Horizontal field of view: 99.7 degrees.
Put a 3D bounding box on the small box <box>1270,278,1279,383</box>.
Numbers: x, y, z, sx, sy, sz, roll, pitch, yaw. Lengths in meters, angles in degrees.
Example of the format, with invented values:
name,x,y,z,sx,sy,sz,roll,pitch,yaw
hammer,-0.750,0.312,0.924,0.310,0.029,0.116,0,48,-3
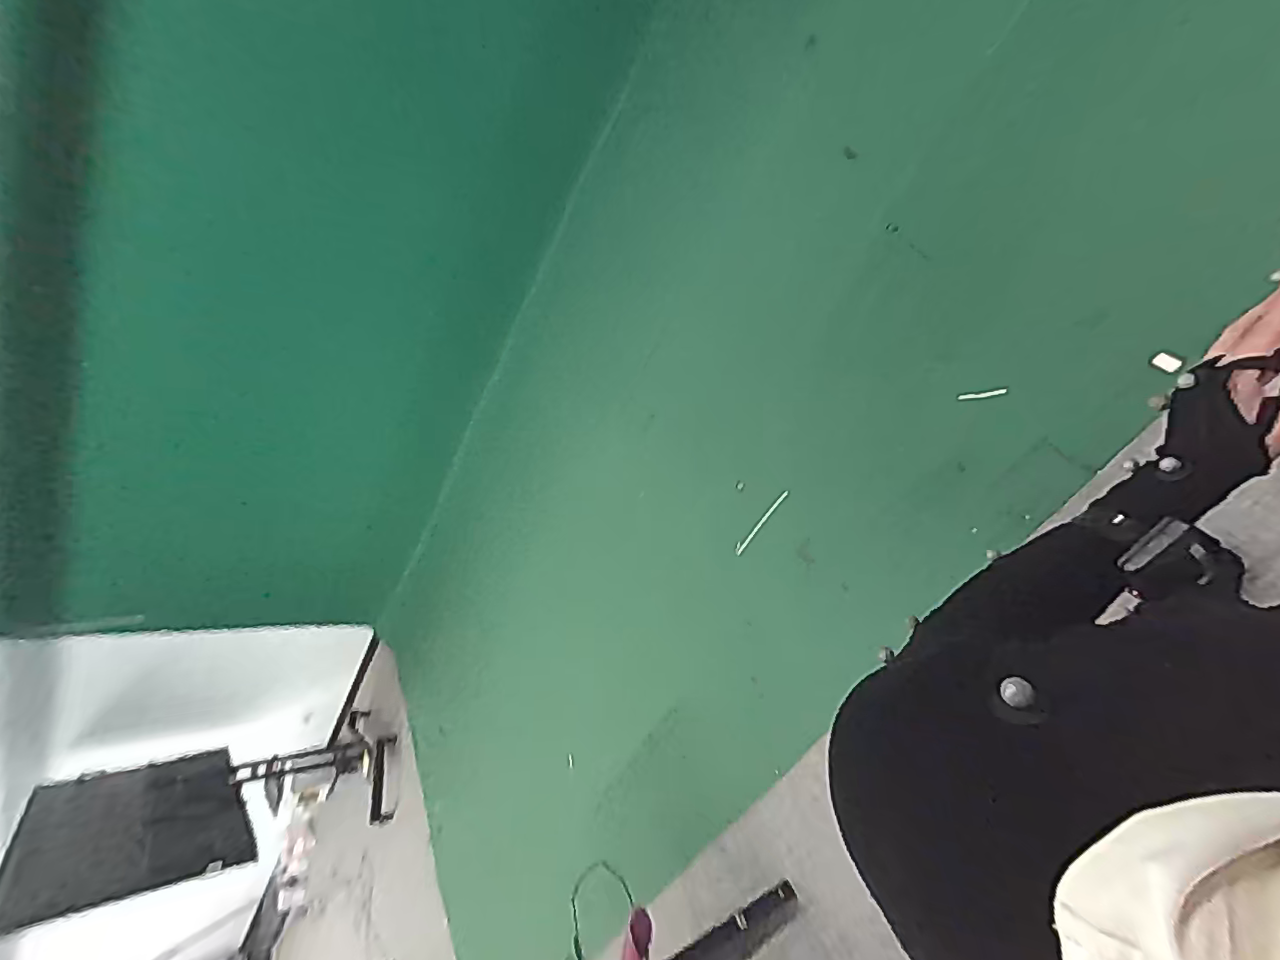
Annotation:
name,x,y,z,sx,sy,sz,roll,pitch,yaw
small box,0.620,-0.169,0.415,0.168,0.176,0.179,5,84,47
